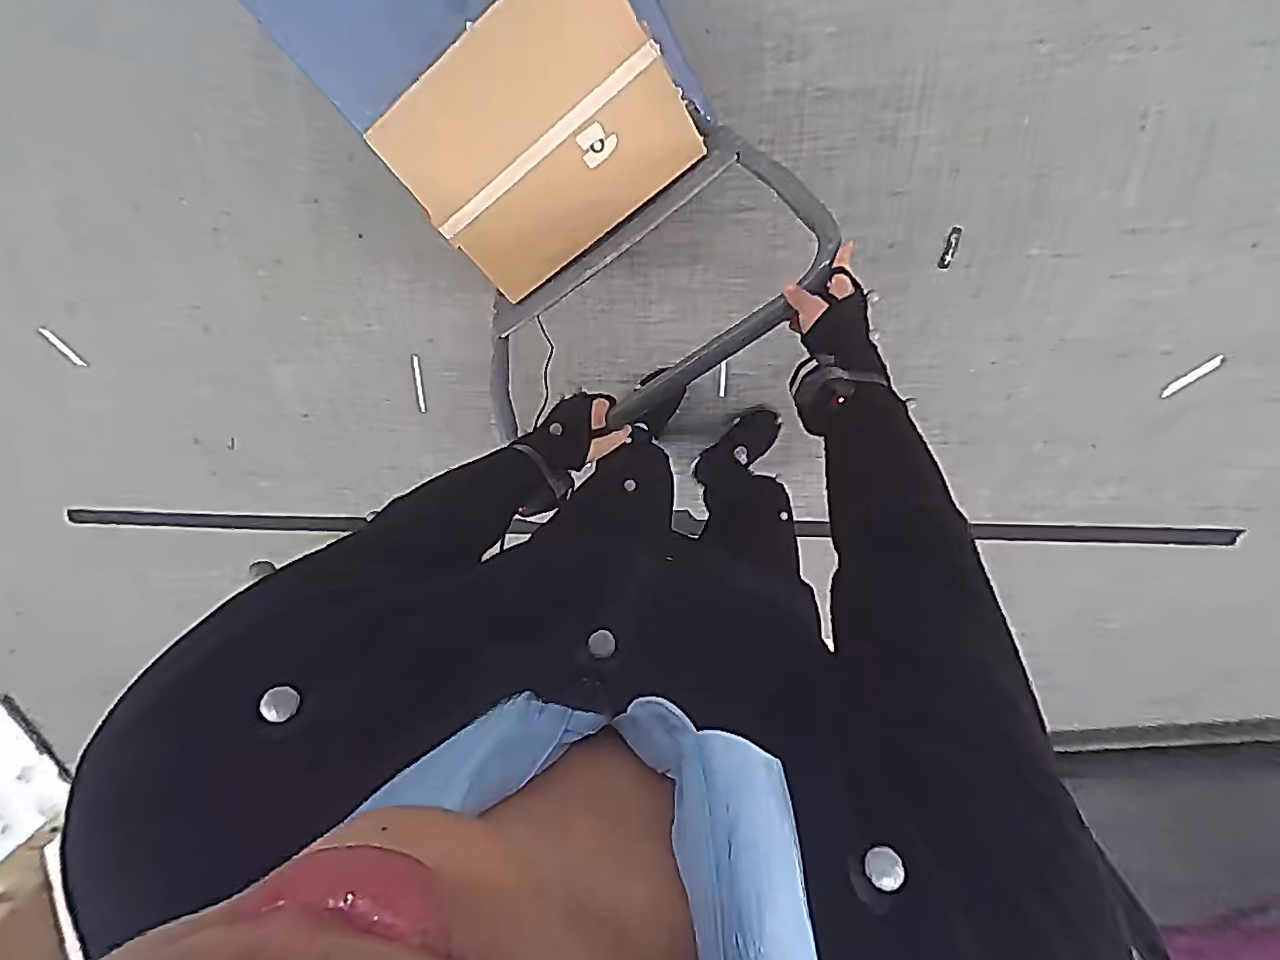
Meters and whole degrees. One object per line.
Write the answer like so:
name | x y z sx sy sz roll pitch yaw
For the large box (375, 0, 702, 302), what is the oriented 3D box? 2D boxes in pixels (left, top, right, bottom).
large box | -0.167 -0.595 0.929 0.408 0.320 0.320 -33 128 15
